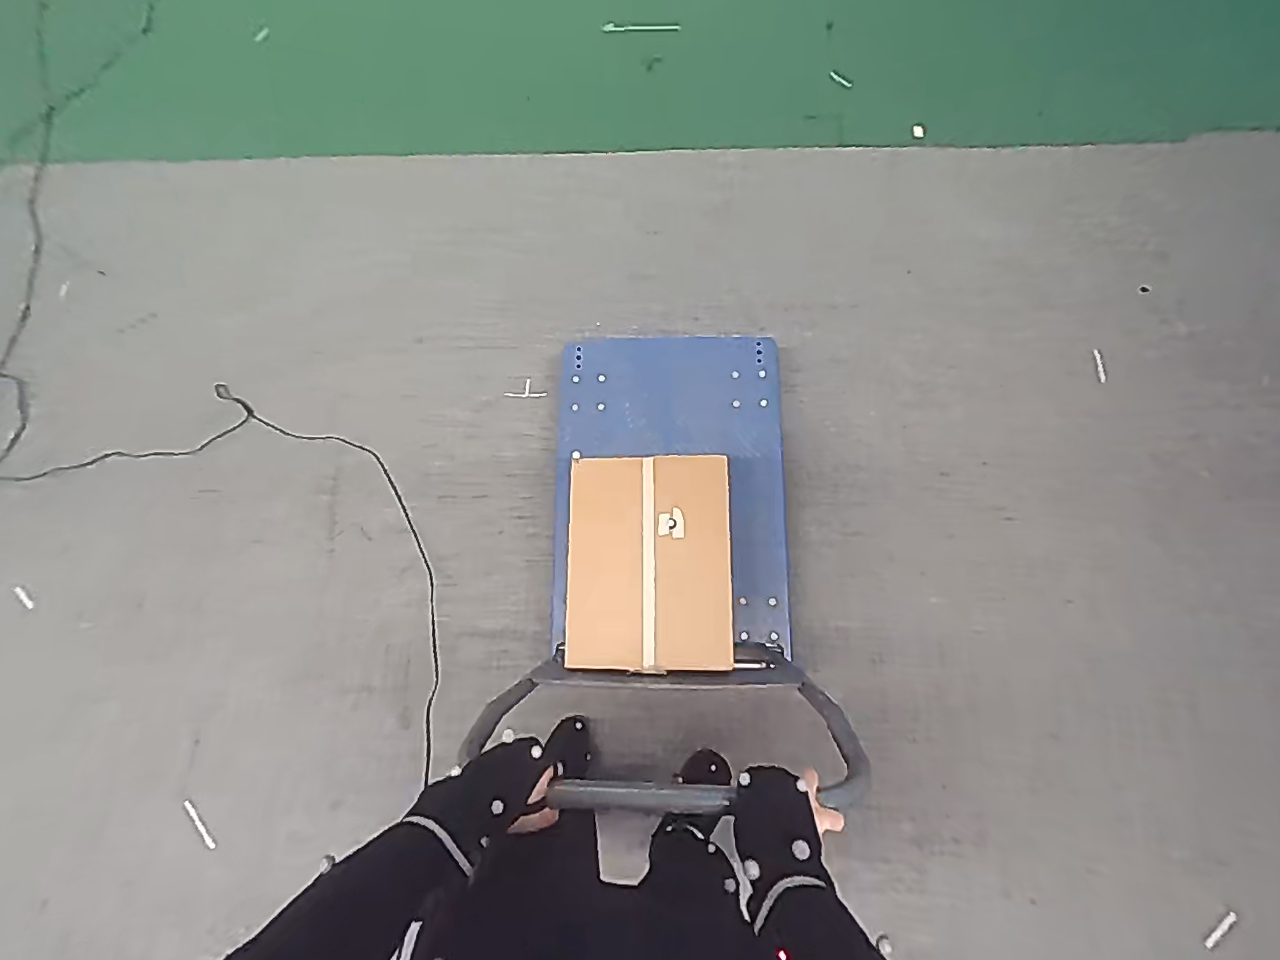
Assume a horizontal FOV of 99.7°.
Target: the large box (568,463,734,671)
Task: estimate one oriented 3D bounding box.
[{"bbox_3d":[0.031,0.201,1.196,0.320,0.320,0.408,-1,75,5],"label":"large box"}]
